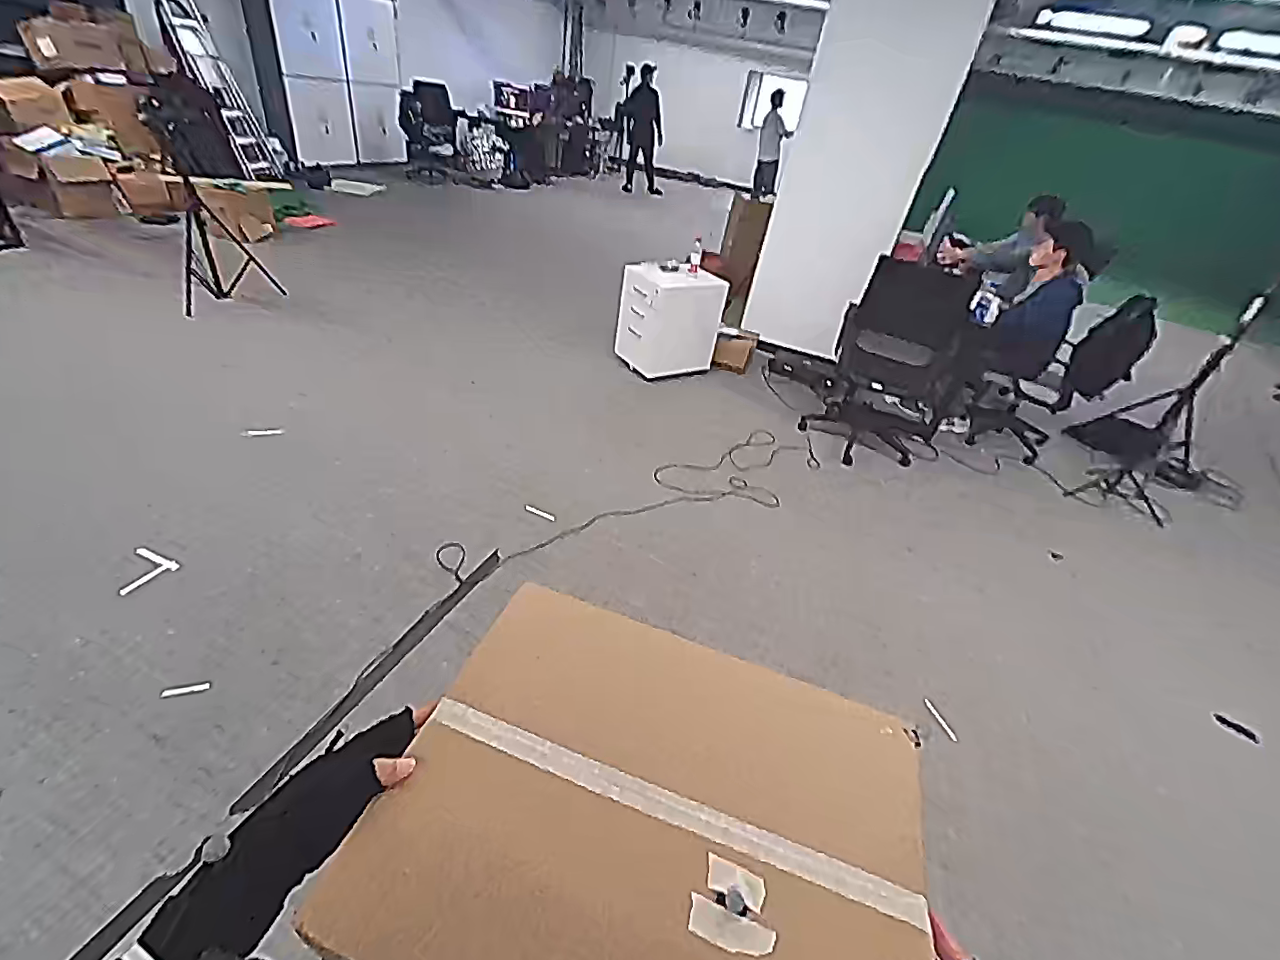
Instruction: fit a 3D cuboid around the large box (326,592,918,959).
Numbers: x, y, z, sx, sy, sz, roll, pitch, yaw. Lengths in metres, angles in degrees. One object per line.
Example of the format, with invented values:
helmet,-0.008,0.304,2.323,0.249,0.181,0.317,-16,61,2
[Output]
large box,0.000,0.378,0.531,0.408,0.320,0.320,18,39,11
